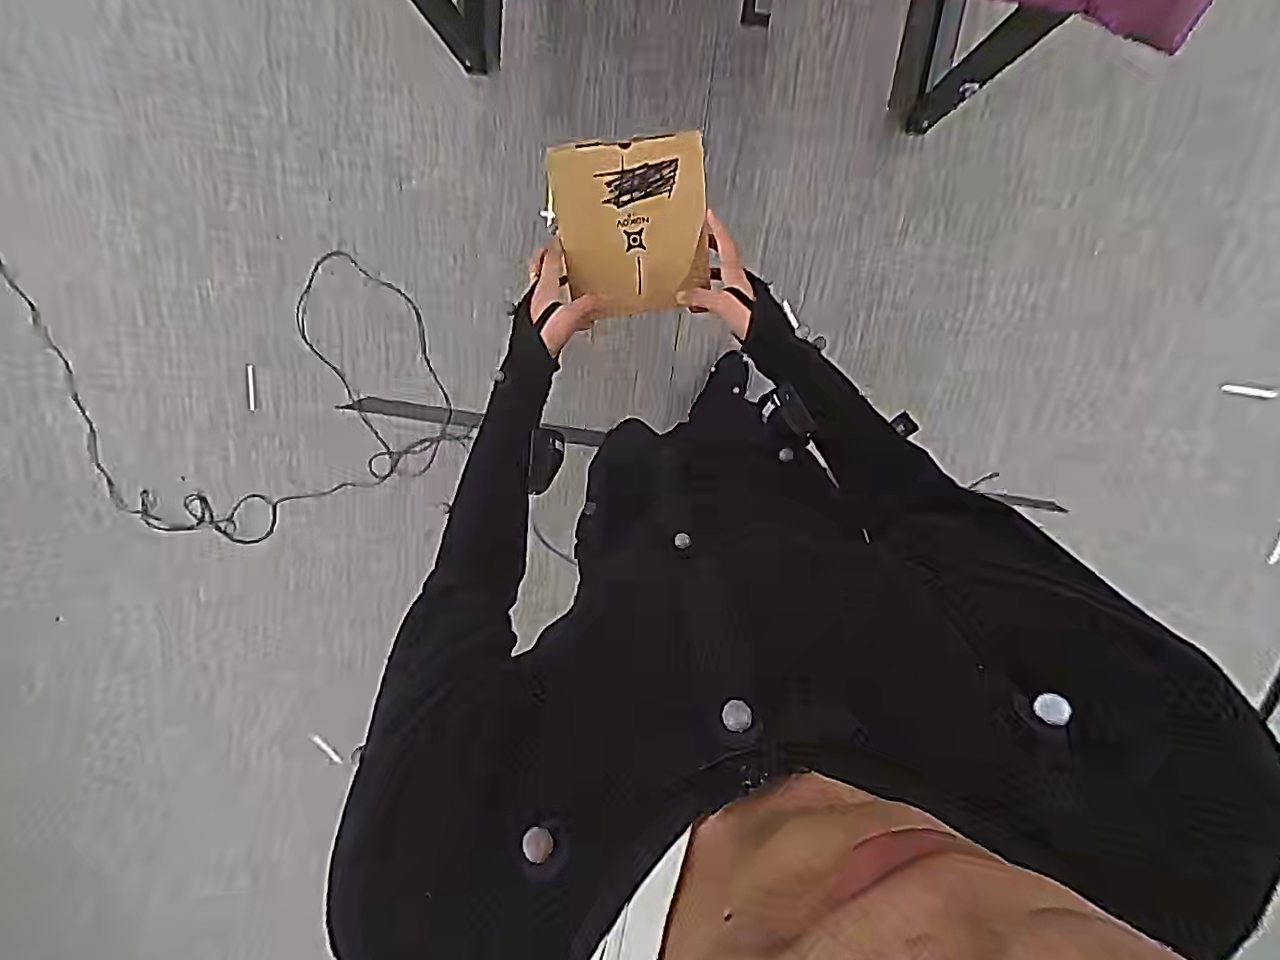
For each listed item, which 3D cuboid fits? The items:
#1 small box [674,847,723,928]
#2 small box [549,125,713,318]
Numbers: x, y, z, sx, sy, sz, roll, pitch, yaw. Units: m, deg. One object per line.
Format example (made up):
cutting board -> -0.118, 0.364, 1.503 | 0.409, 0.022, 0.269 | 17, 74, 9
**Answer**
small box -> 0.210, 1.473, 1.957 | 0.168, 0.176, 0.179 | -3, 105, 3
small box -> -0.016, -0.305, 0.655 | 0.168, 0.176, 0.179 | -10, 116, -4
